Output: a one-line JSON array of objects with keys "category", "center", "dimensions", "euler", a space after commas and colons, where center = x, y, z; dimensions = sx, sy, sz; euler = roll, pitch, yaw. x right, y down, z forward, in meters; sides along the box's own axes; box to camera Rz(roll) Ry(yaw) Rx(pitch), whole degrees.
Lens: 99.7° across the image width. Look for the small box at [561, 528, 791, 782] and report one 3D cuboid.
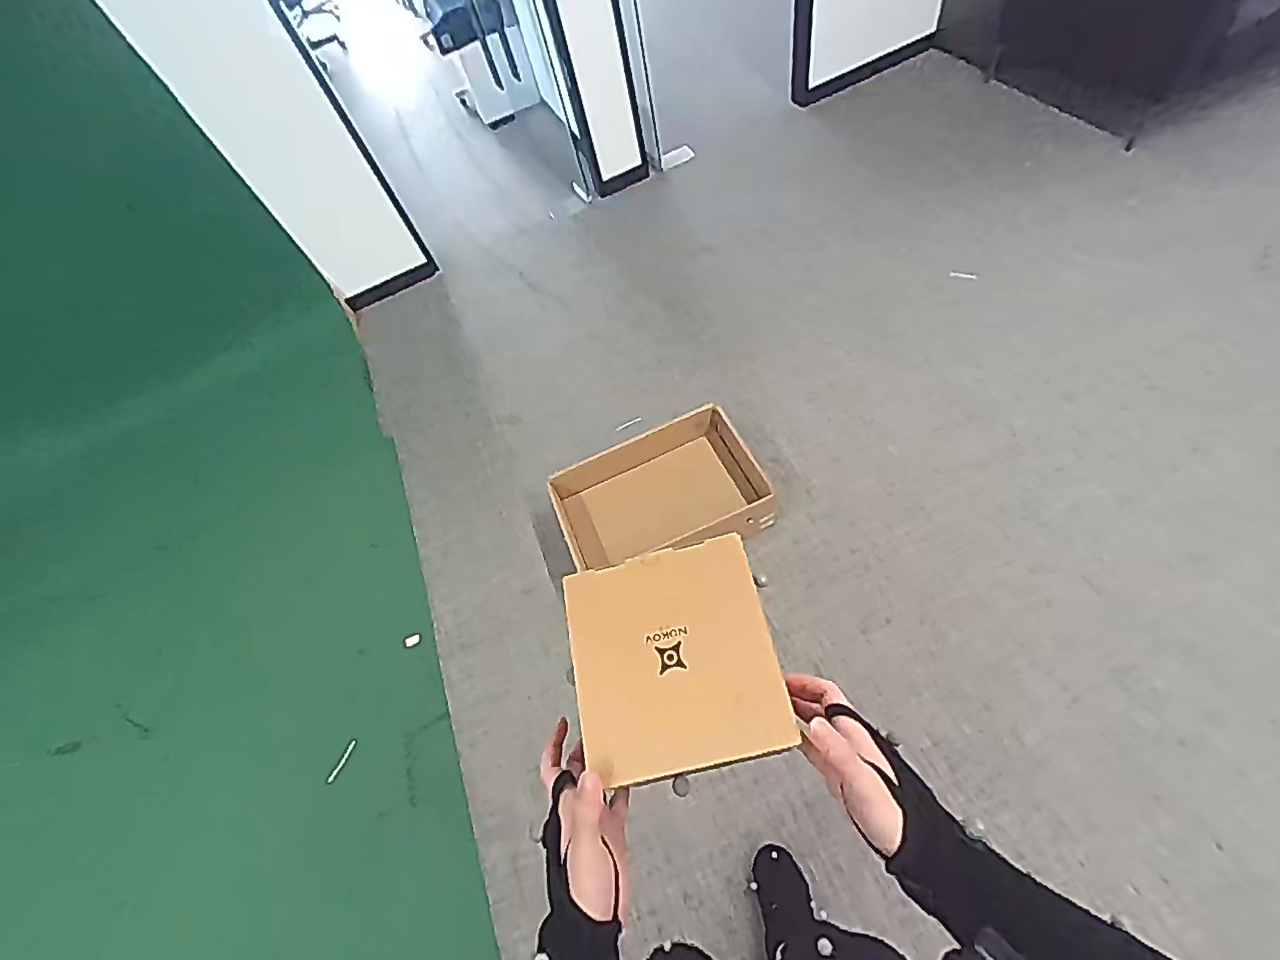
[{"category": "small box", "center": [0.037, 0.173, 0.512], "dimensions": [0.168, 0.176, 0.179], "euler": [-16, 57, 5]}]
